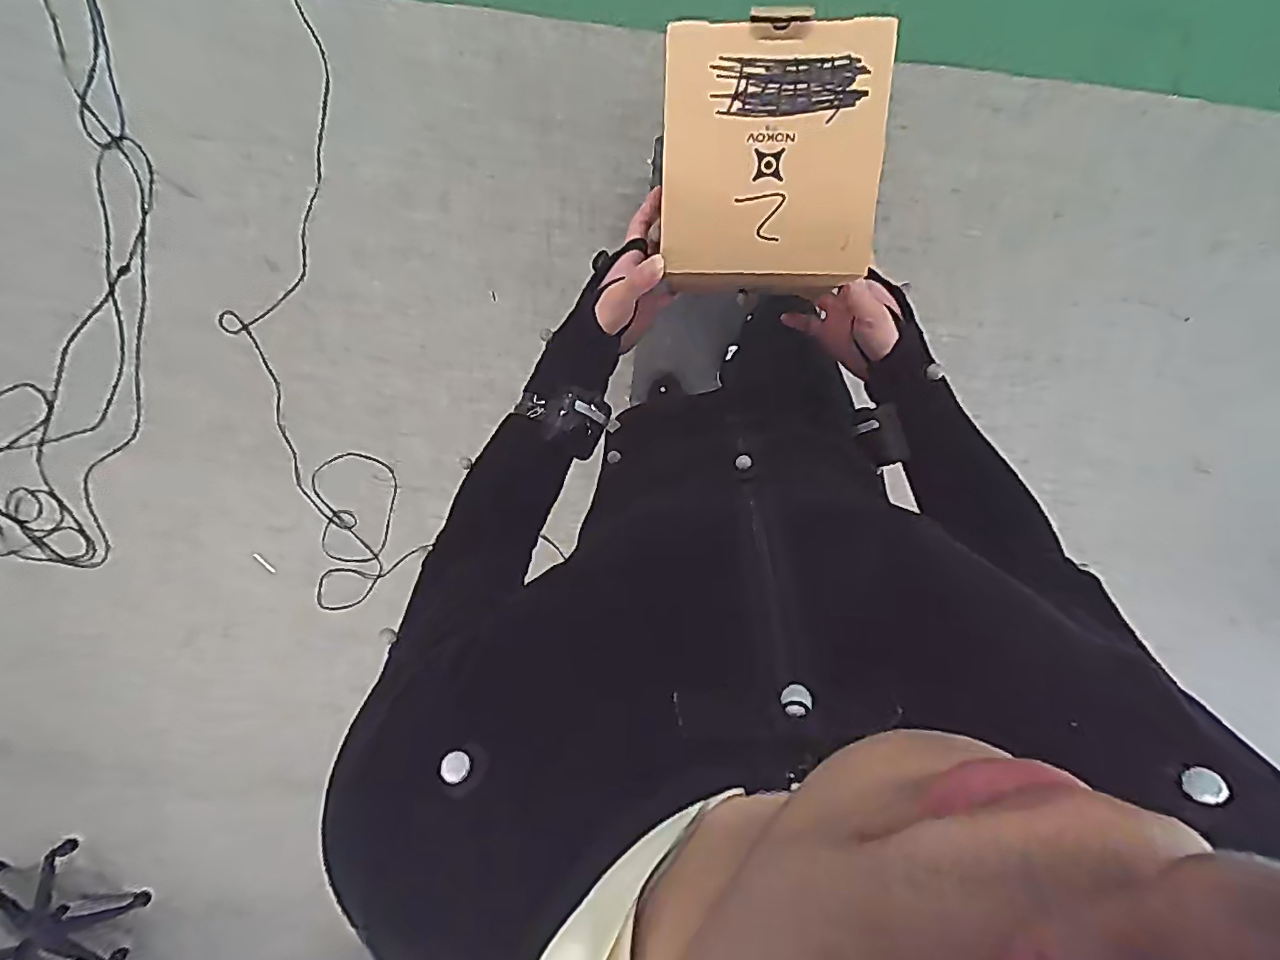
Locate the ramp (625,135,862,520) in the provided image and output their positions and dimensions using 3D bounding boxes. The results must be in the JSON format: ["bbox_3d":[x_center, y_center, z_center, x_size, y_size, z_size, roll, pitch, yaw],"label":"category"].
[{"bbox_3d":[0.240,-0.348,1.493,0.509,0.206,0.991,5,105,1],"label":"ramp"}]
